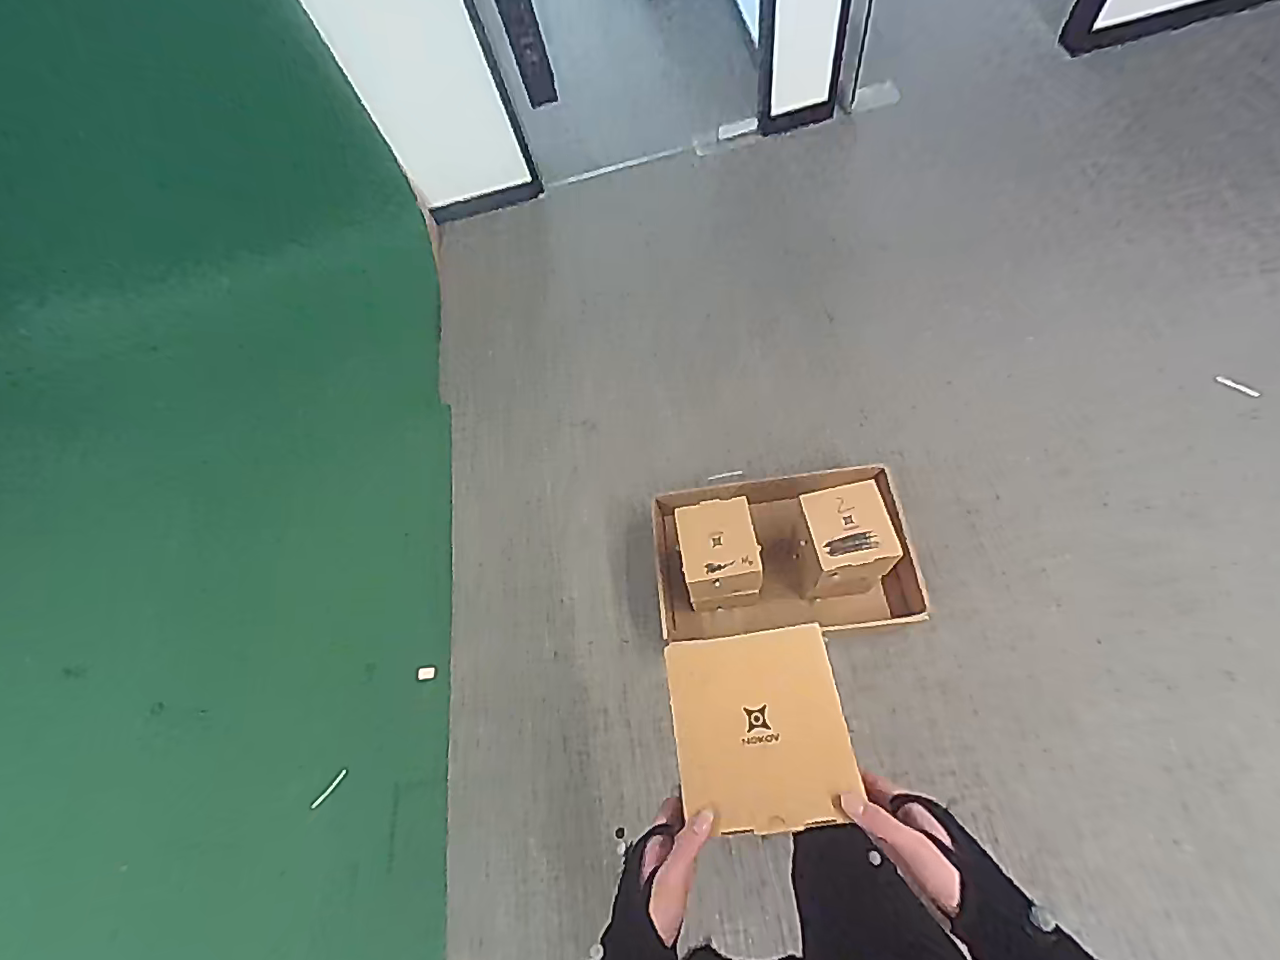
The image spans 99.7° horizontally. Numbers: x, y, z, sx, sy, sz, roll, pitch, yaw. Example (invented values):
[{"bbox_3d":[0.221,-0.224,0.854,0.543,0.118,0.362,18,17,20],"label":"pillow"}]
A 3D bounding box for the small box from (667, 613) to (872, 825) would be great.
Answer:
[{"bbox_3d":[0.130,0.263,0.589,0.168,0.176,0.179,-11,59,7],"label":"small box"}]

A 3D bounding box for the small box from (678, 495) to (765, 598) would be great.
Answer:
[{"bbox_3d":[0.185,0.157,1.239,0.168,0.176,0.179,-11,63,7],"label":"small box"}]
